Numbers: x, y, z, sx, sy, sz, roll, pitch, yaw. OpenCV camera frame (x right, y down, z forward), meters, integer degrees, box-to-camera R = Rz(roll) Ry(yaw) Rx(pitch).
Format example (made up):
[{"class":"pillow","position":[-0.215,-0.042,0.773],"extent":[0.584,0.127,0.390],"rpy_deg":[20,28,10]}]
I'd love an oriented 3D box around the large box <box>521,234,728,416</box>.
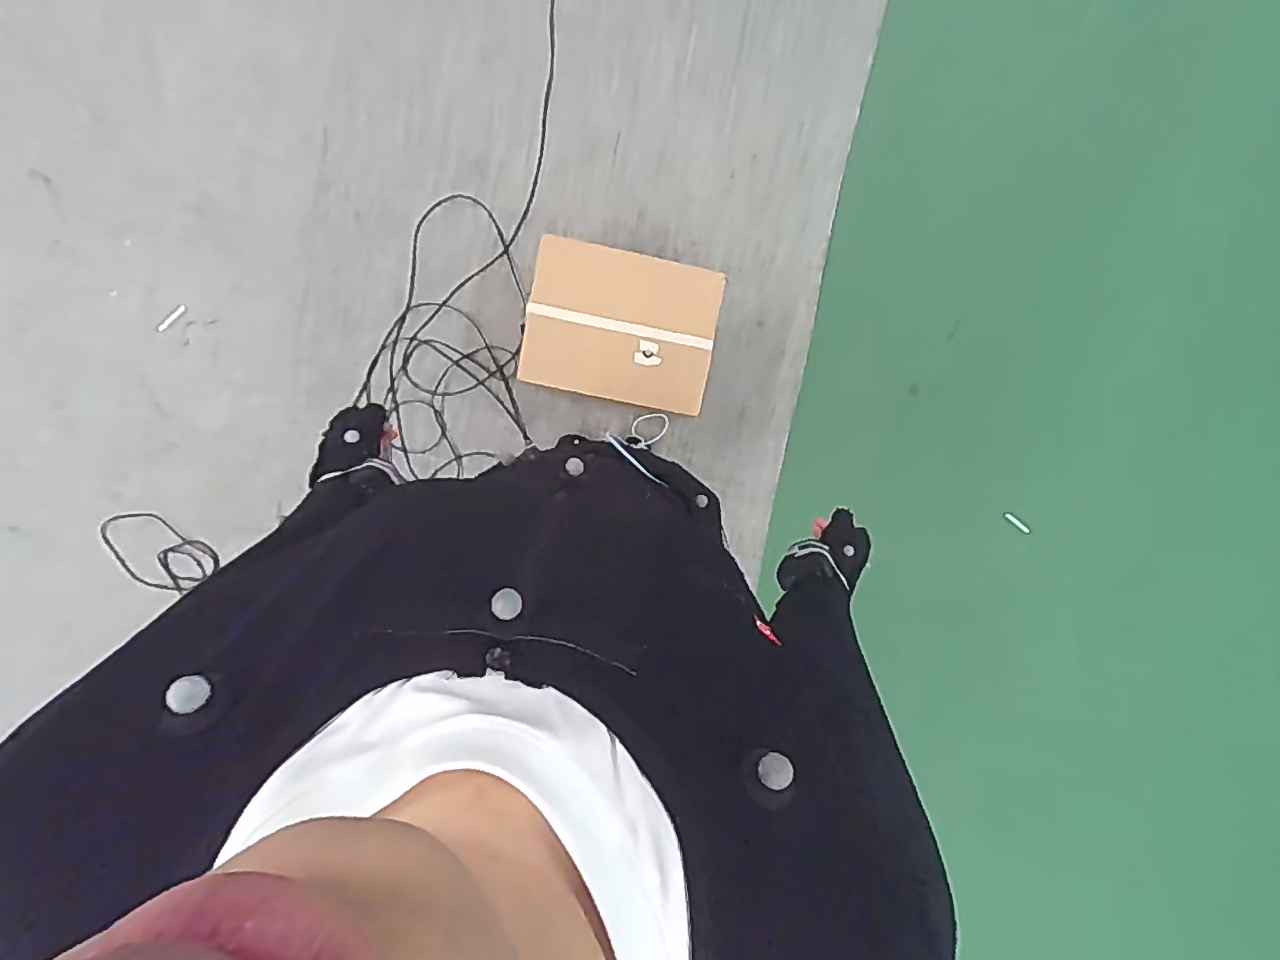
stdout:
[{"class":"large box","position":[-0.042,-0.345,1.303],"extent":[0.408,0.320,0.320],"rpy_deg":[12,95,-4]}]
